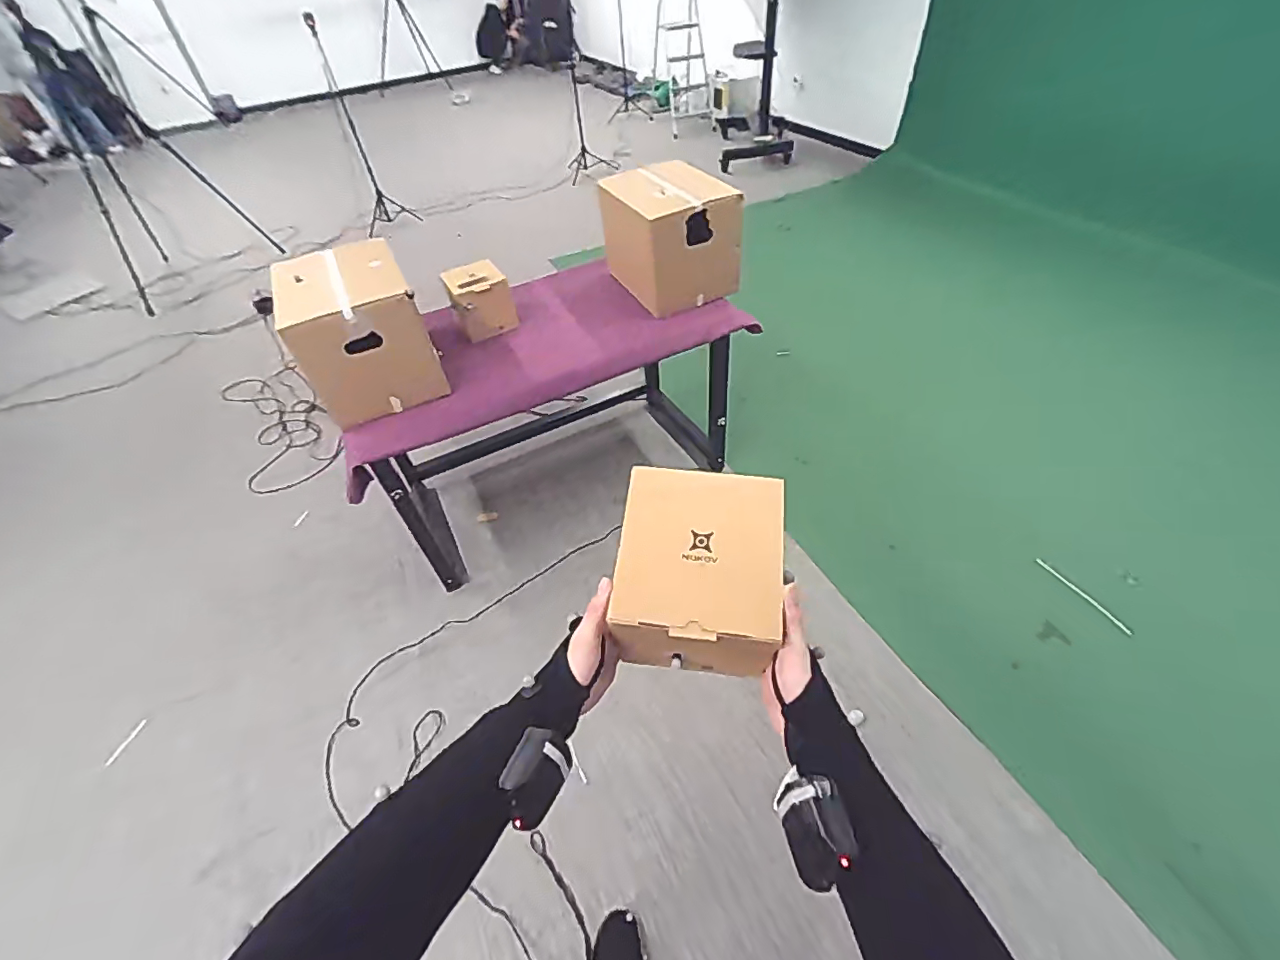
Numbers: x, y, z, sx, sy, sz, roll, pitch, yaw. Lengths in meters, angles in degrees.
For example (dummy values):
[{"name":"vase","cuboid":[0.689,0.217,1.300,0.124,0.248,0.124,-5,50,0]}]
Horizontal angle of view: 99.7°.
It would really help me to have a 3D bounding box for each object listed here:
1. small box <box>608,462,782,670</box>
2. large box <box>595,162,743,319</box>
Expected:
[{"name":"small box","cuboid":[0.062,0.102,0.612,0.168,0.176,0.179,5,61,5]},{"name":"large box","cuboid":[0.085,-0.788,1.764,0.320,0.320,0.408,-24,50,-14]}]
